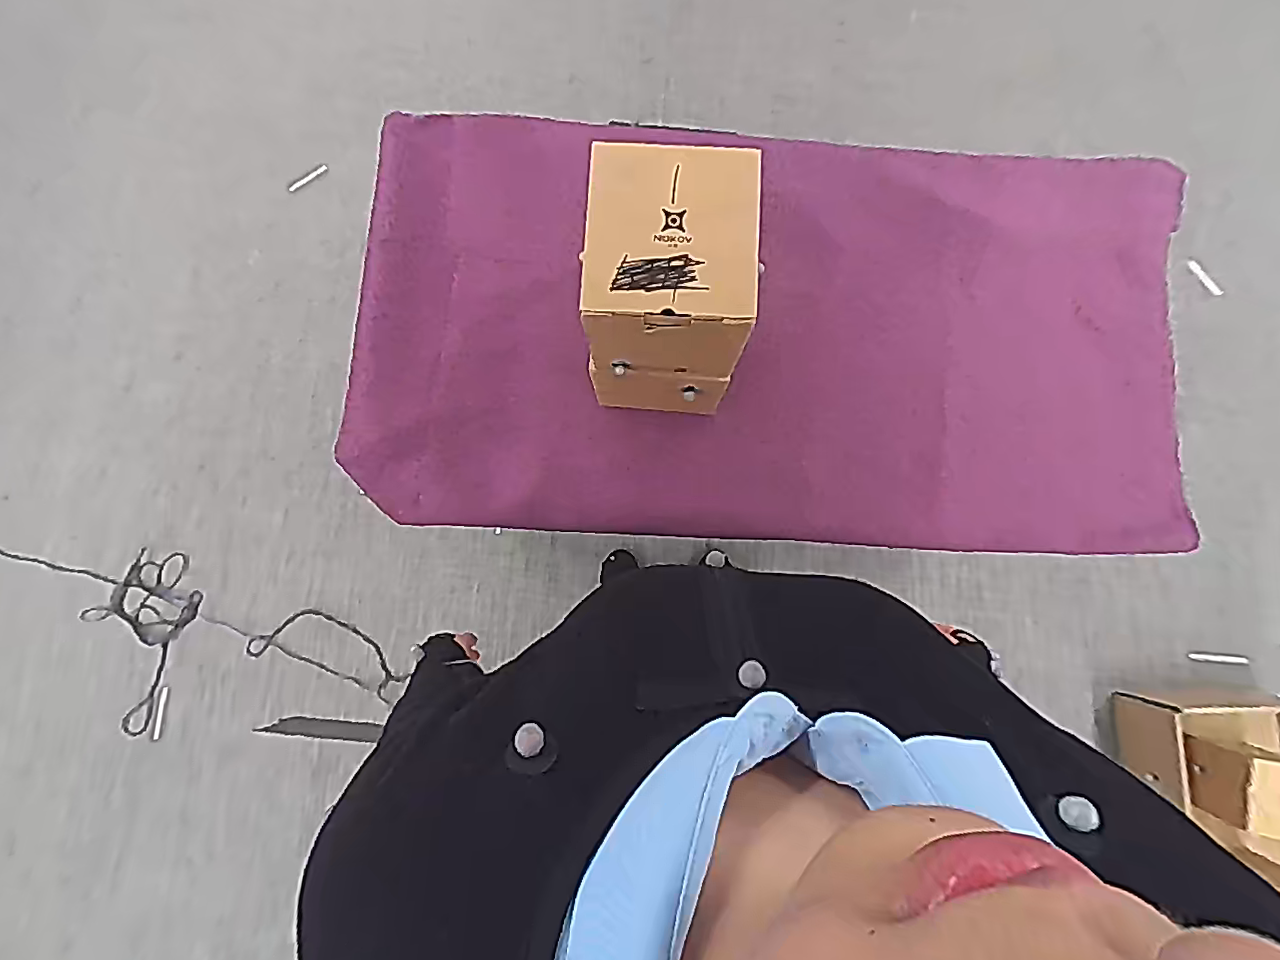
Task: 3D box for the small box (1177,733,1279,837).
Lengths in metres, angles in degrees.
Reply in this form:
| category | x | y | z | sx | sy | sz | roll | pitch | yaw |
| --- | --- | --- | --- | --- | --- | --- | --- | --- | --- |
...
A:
| category | x | y | z | sx | sy | sz | roll | pitch | yaw |
| --- | --- | --- | --- | --- | --- | --- | --- | --- | --- |
| small box | 1.459 | 0.726 | 1.292 | 0.179 | 0.176 | 0.168 | 10 | 85 | 2 |

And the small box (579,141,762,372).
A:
| category | x | y | z | sx | sy | sz | roll | pitch | yaw |
| --- | --- | --- | --- | --- | --- | --- | --- | --- | --- |
| small box | 0.032 | -0.225 | 0.584 | 0.168 | 0.176 | 0.179 | 3 | 82 | 1 |

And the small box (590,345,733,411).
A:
| category | x | y | z | sx | sy | sz | roll | pitch | yaw |
| --- | --- | --- | --- | --- | --- | --- | --- | --- | --- |
| small box | 0.033 | -0.197 | 0.747 | 0.179 | 0.176 | 0.168 | 5 | 83 | 2 |
